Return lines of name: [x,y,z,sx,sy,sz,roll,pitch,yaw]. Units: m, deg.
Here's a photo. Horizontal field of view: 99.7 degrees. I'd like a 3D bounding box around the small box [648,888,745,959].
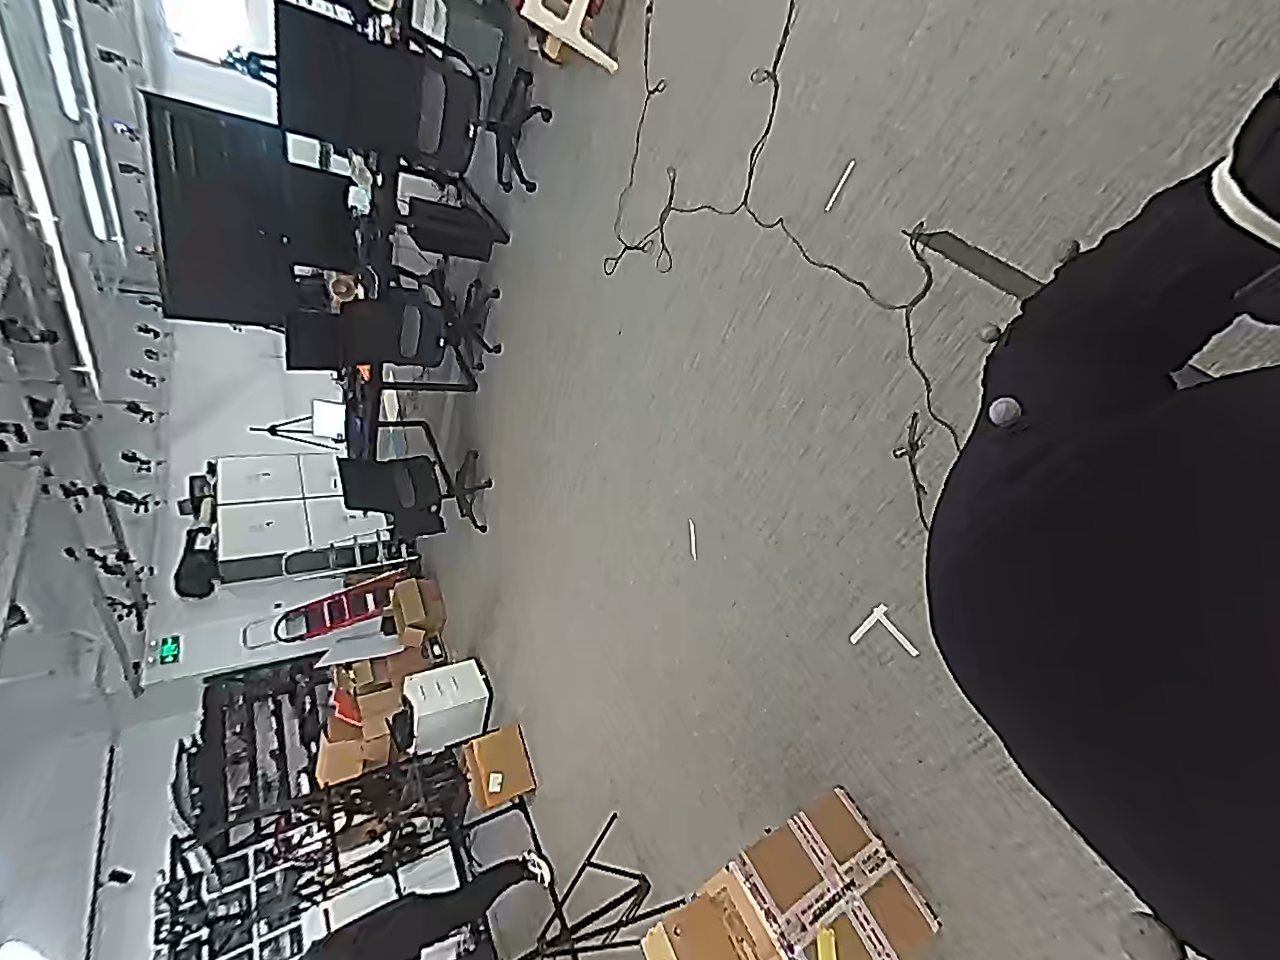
small box: [0.153,1.270,1.472,0.179,0.176,0.168,54,133,40]
